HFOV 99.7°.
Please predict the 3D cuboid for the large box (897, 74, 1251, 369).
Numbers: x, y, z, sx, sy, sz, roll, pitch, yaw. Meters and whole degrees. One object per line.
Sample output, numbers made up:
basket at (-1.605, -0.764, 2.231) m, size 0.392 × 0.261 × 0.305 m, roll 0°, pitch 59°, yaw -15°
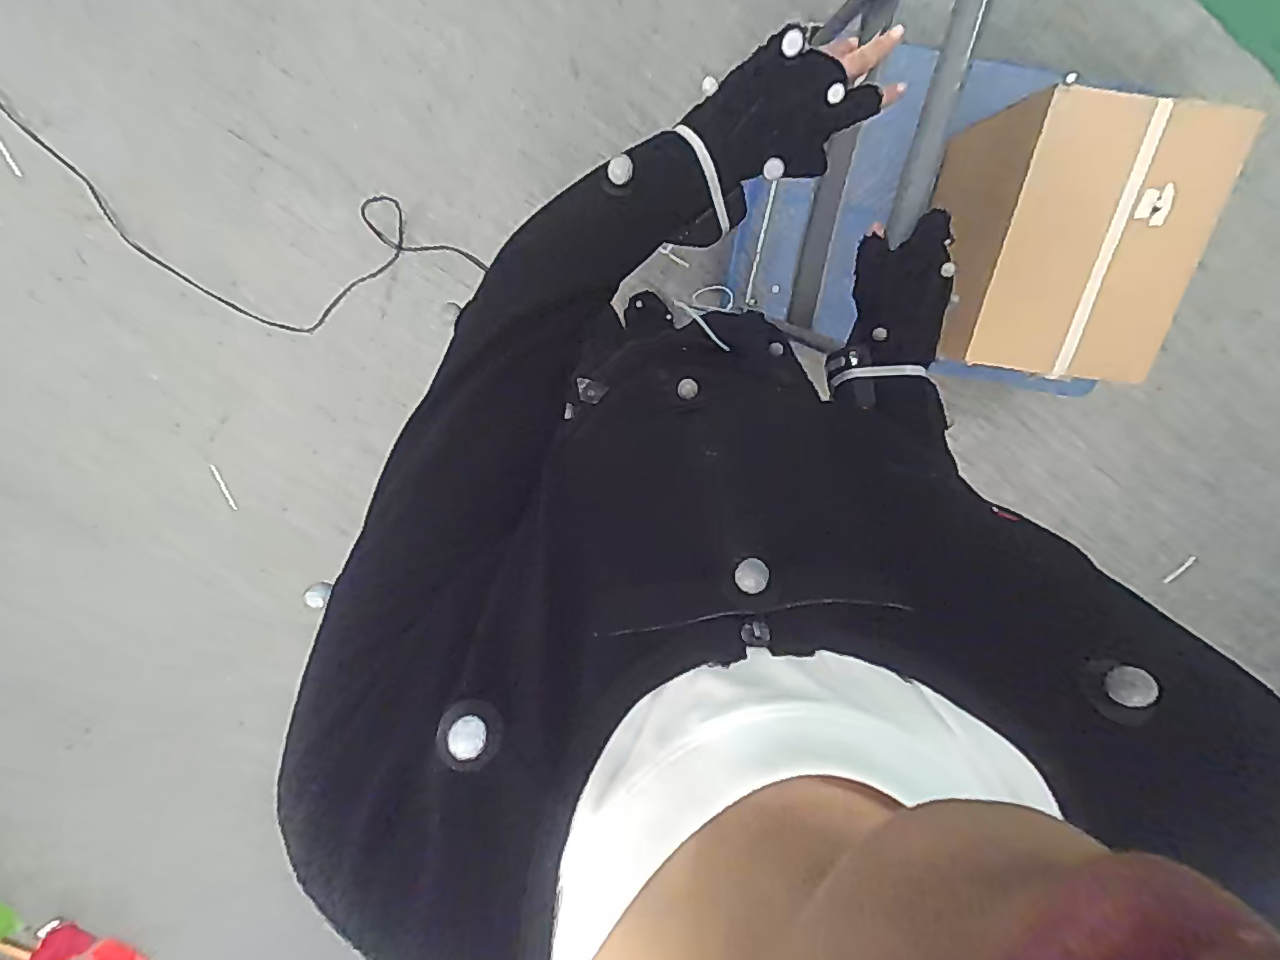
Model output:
large box at (0.727, -0.437, 0.993) m, size 0.320 × 0.320 × 0.408 m, roll 7°, pitch 109°, yaw -1°
